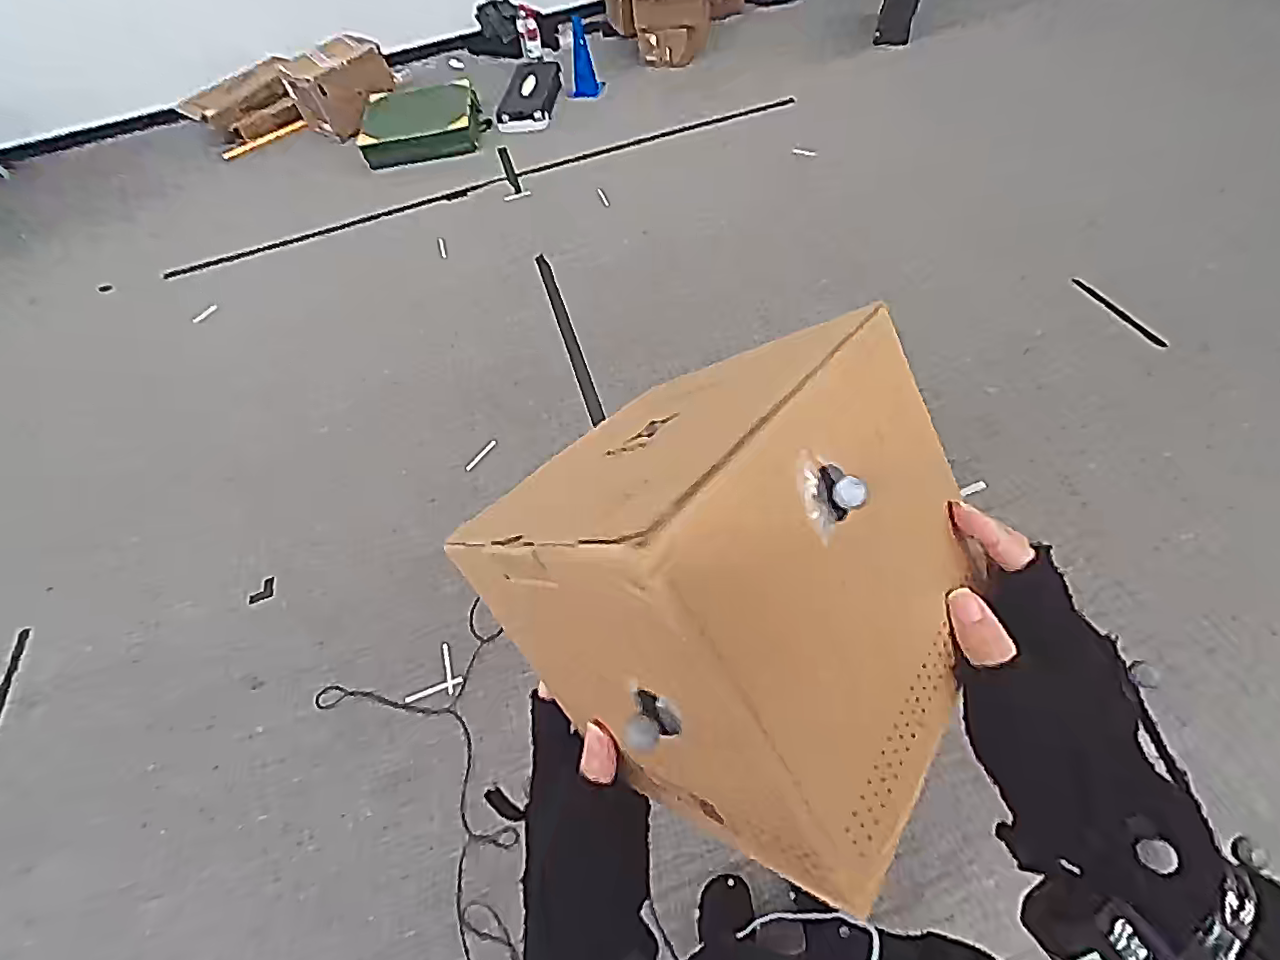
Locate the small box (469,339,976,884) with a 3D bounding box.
[{"bbox_3d":[0.049,0.057,0.290,0.179,0.176,0.168,-41,18,-34],"label":"small box"}]
